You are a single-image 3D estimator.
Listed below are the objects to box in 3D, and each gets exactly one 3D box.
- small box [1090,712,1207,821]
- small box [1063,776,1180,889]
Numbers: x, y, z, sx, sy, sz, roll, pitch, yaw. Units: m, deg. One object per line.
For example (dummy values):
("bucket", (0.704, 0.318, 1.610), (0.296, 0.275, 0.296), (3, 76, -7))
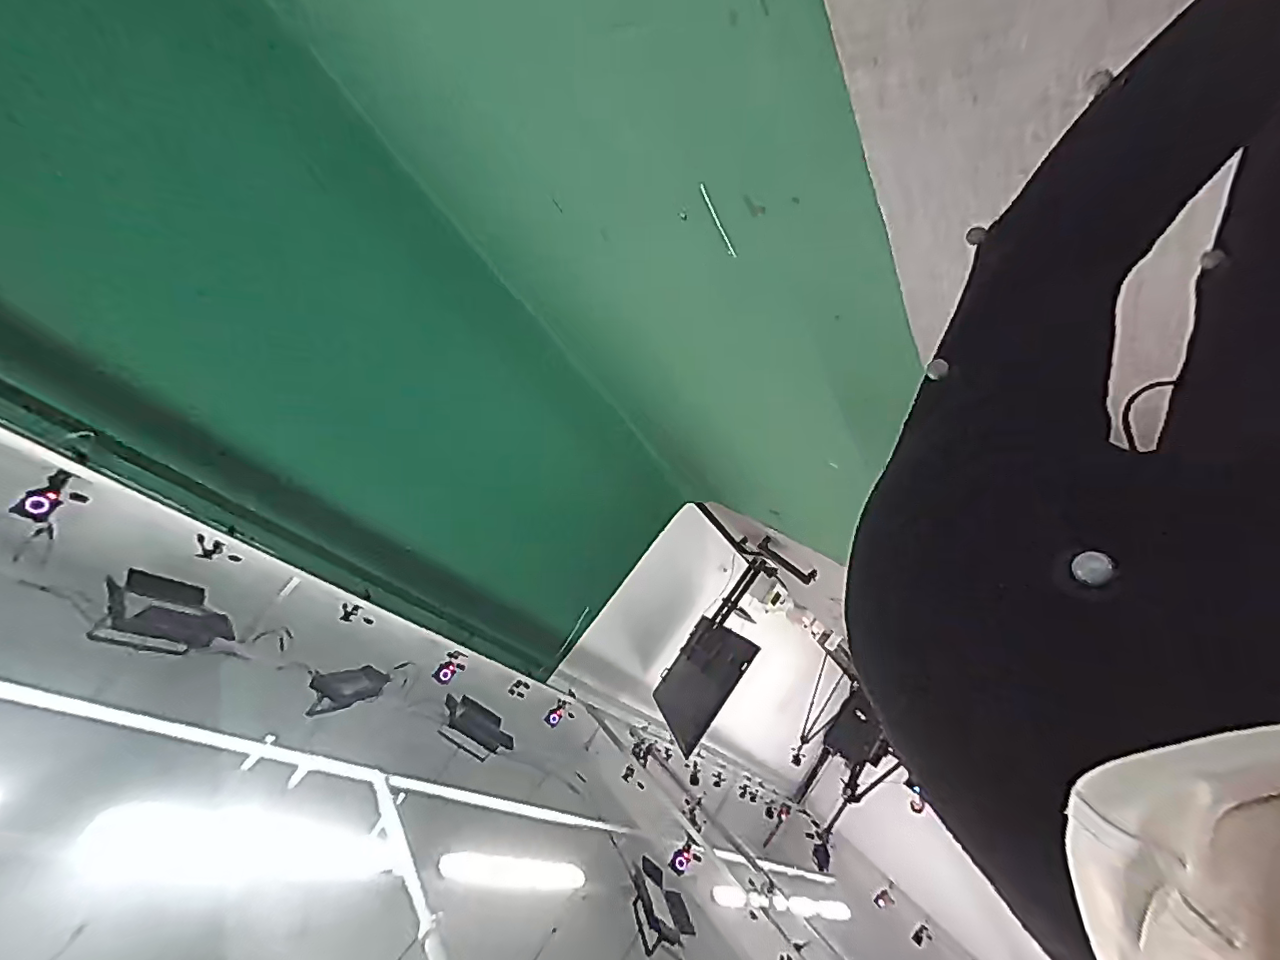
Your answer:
("small box", (1.258, 0.713, 1.343), (0.168, 0.176, 0.179), (26, 164, 50))
("small box", (1.179, 0.860, 1.329), (0.168, 0.176, 0.179), (28, 166, 46))
